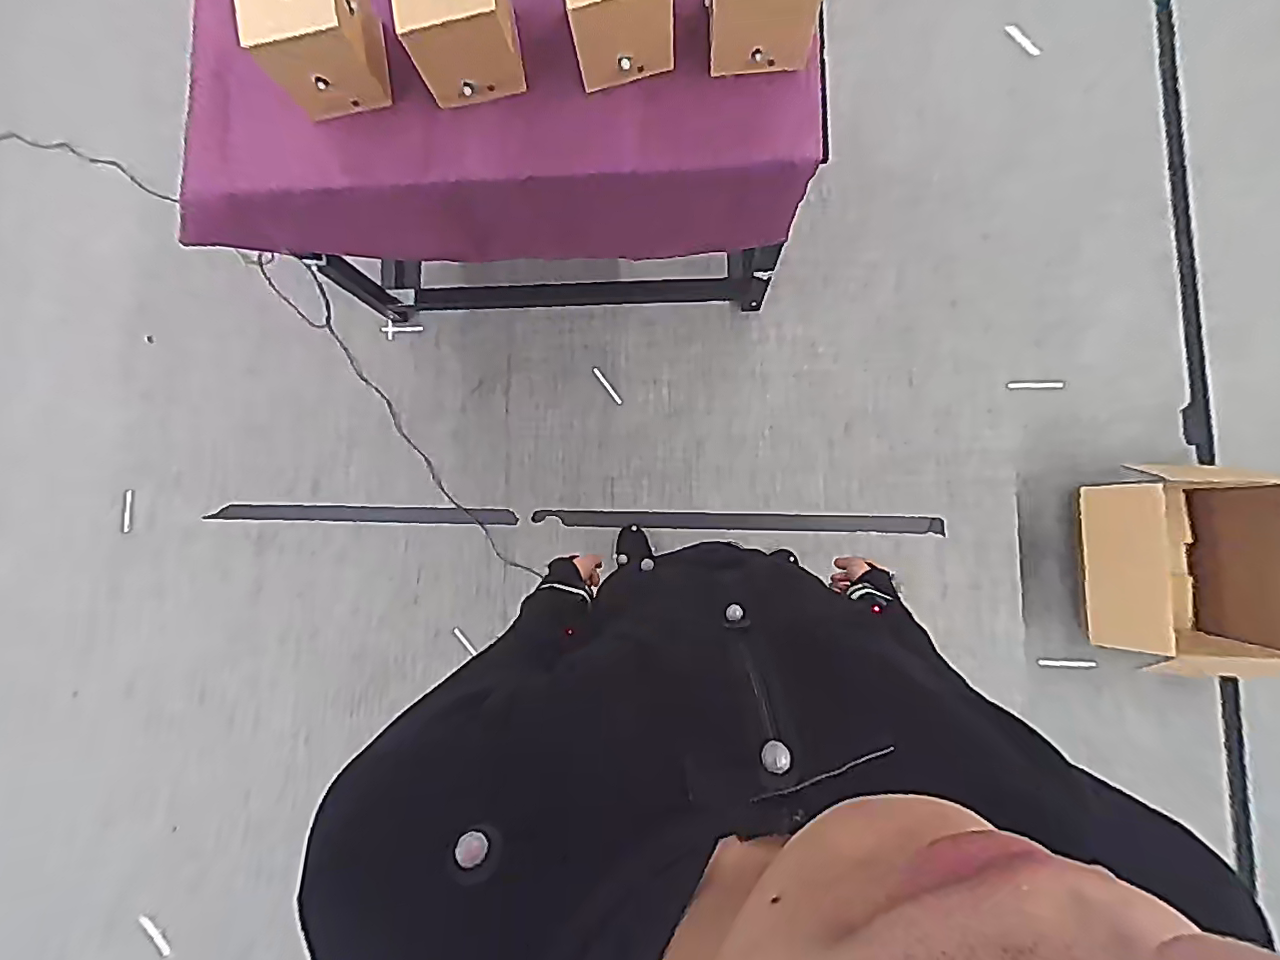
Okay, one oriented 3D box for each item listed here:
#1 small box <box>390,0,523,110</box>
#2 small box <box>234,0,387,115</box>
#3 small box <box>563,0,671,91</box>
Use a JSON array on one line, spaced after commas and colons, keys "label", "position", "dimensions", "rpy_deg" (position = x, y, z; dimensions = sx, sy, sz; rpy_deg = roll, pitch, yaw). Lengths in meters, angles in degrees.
[{"label": "small box", "position": [-0.311, -0.787, 0.925], "dimensions": [0.168, 0.176, 0.179], "rpy_deg": [-10, 85, 4]}, {"label": "small box", "position": [-0.563, -0.775, 0.941], "dimensions": [0.168, 0.176, 0.179], "rpy_deg": [-9, 85, 3]}, {"label": "small box", "position": [-0.046, -0.810, 0.906], "dimensions": [0.168, 0.176, 0.179], "rpy_deg": [-14, 86, 3]}]
